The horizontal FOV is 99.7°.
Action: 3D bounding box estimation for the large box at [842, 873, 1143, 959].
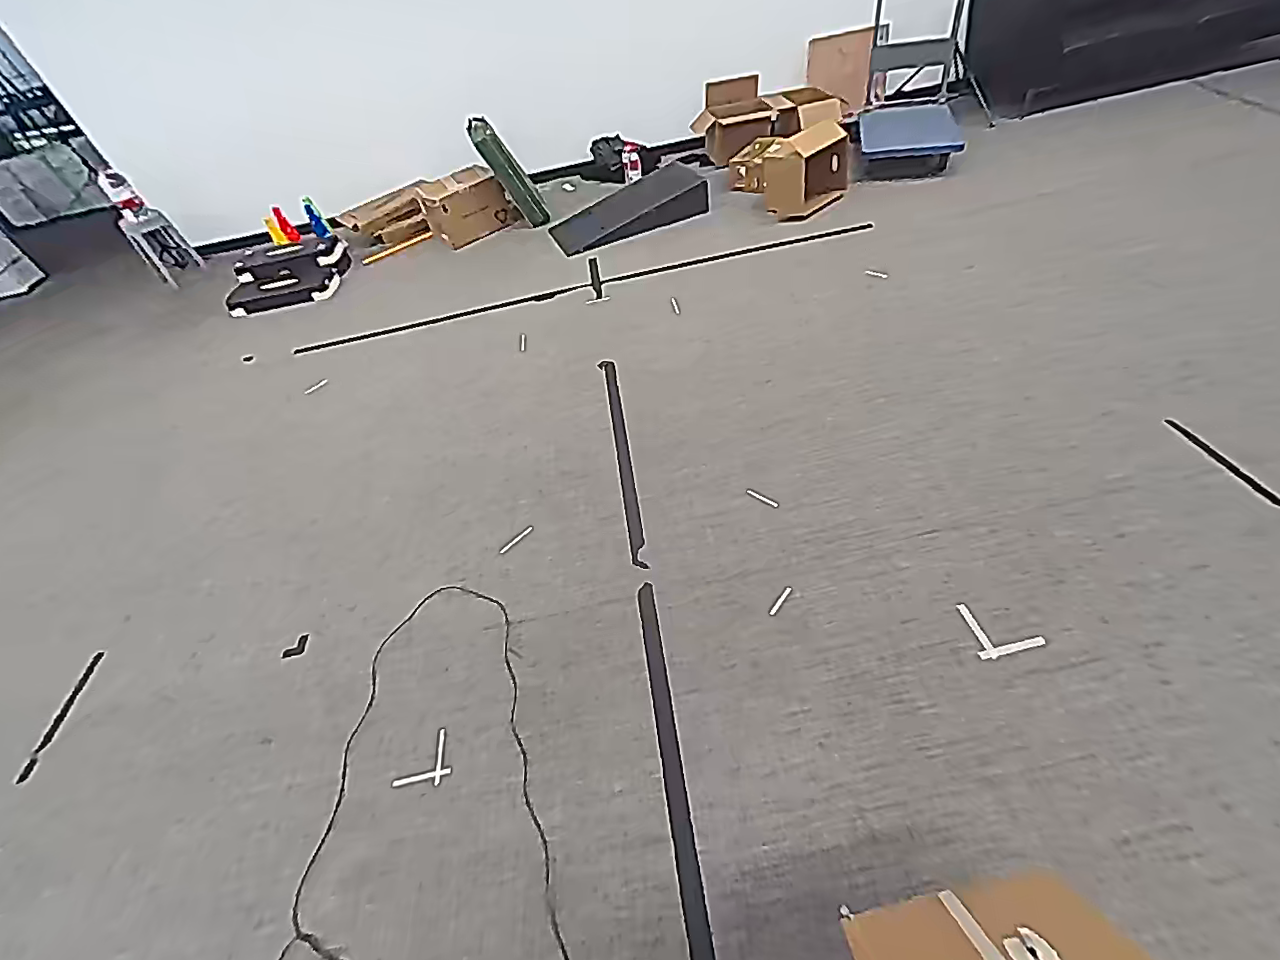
[{"bbox_3d":[0.470,0.730,0.573,0.320,0.408,0.320,-16,81,2],"label":"large box"}]
